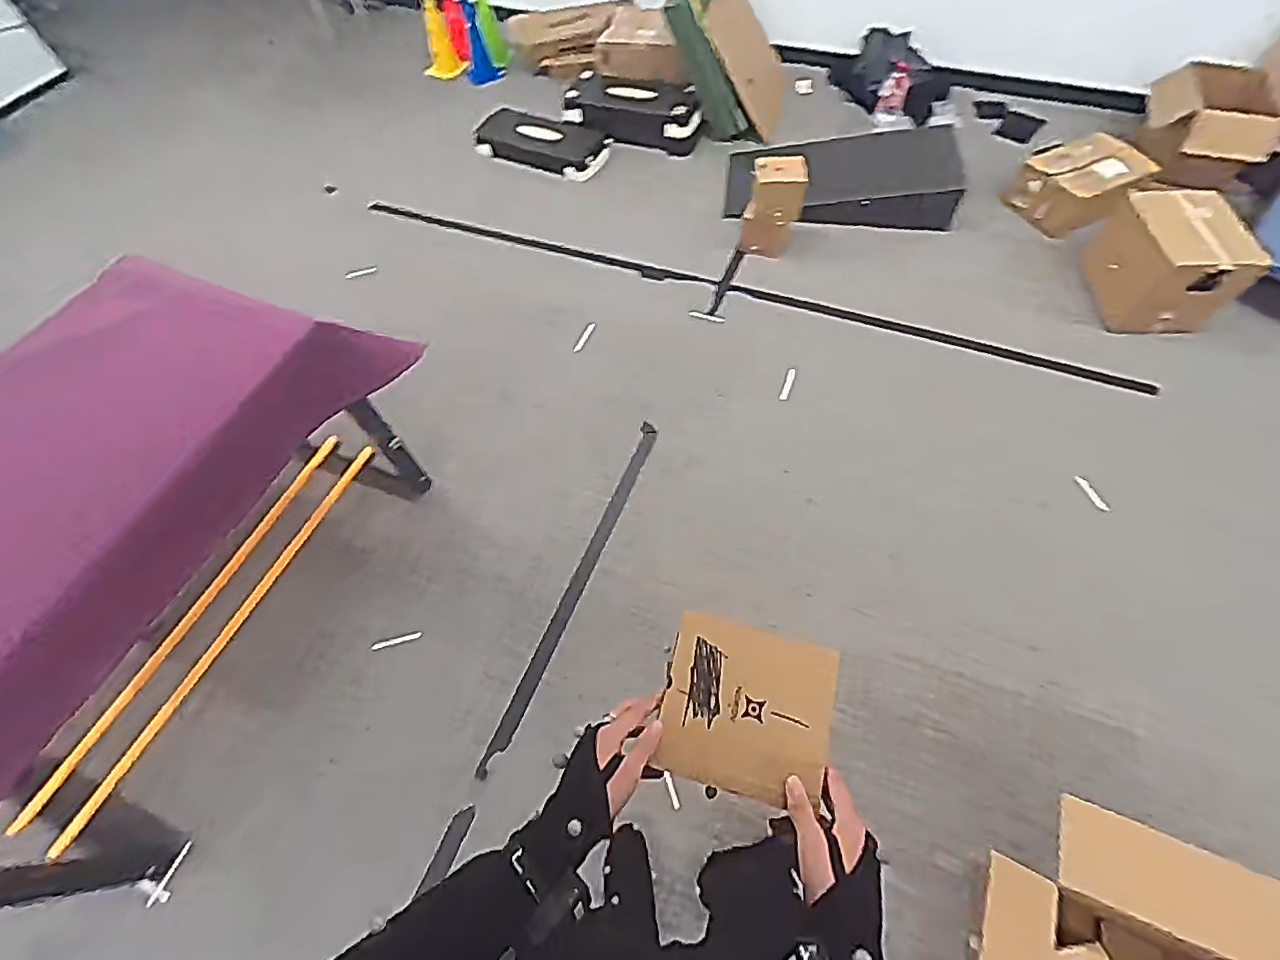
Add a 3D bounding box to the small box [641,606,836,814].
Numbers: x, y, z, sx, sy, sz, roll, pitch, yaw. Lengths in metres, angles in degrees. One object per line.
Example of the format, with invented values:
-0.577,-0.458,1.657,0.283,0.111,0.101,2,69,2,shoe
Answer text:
0.107,0.264,0.632,0.179,0.176,0.168,14,67,7,small box
